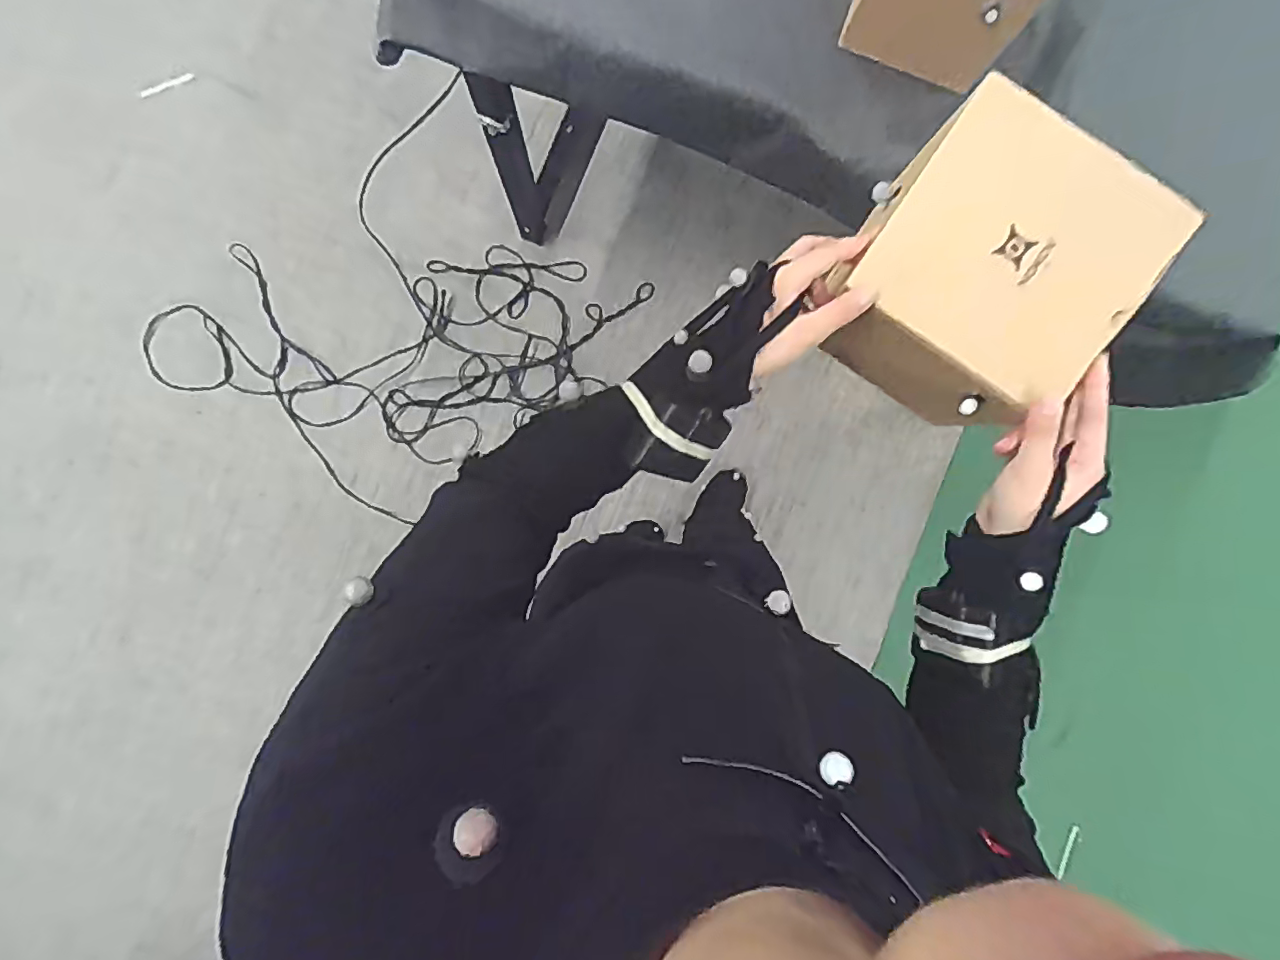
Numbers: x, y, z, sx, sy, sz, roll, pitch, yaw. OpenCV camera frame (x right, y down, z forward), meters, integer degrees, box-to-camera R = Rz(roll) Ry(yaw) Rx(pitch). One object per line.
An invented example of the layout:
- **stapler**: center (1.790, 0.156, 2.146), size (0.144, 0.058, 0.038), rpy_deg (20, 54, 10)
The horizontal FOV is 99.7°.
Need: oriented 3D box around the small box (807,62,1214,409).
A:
- **small box**: center (0.264, -0.168, 0.440), size (0.179, 0.176, 0.168), rpy_deg (34, 96, 0)
